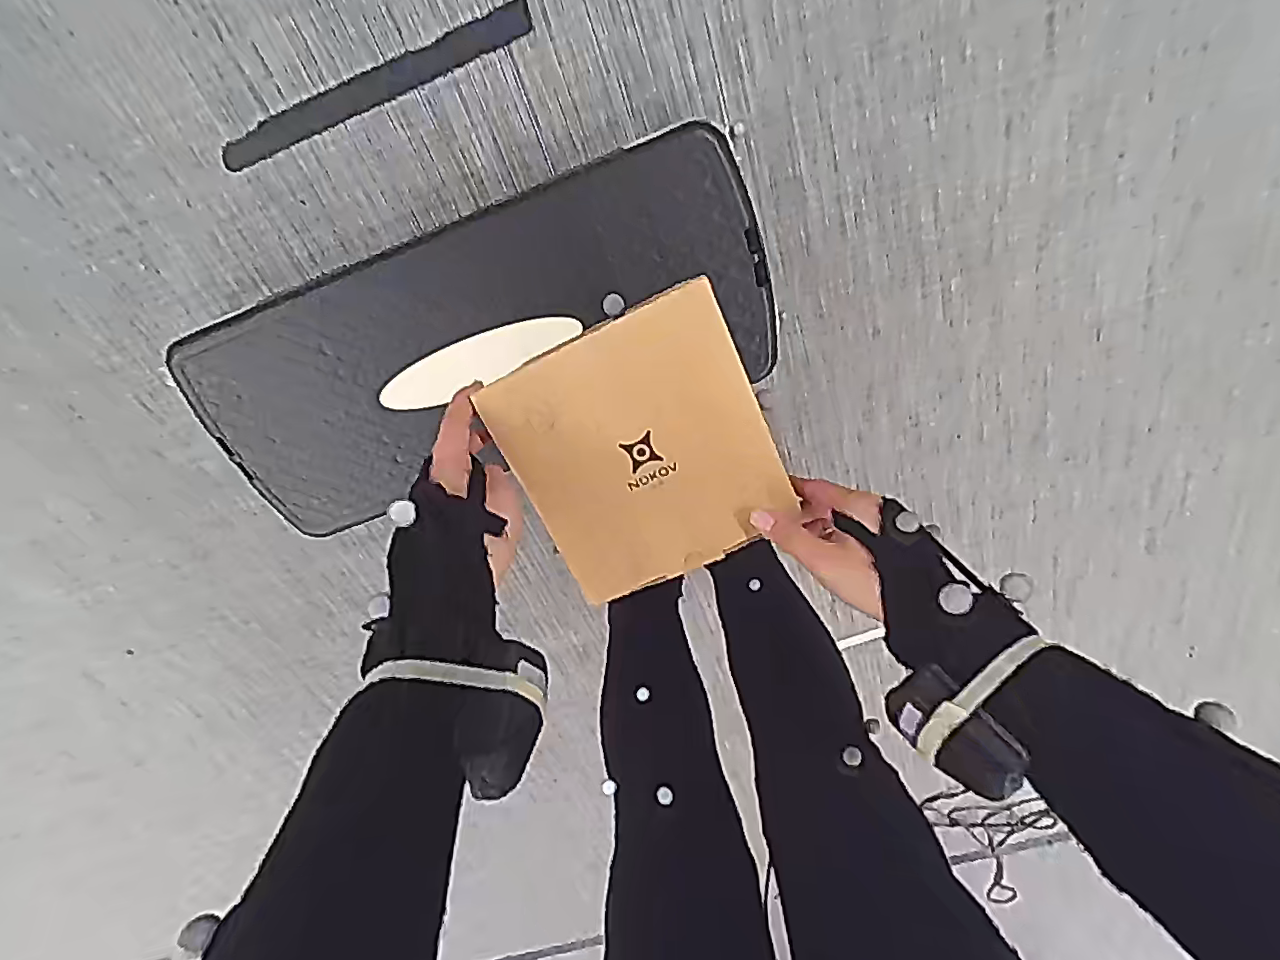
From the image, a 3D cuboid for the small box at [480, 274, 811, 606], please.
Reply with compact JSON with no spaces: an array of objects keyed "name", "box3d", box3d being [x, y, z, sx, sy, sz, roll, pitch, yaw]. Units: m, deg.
[{"name":"small box","box3d":[0.006,-0.041,0.425,0.168,0.176,0.179,-25,109,8]}]
